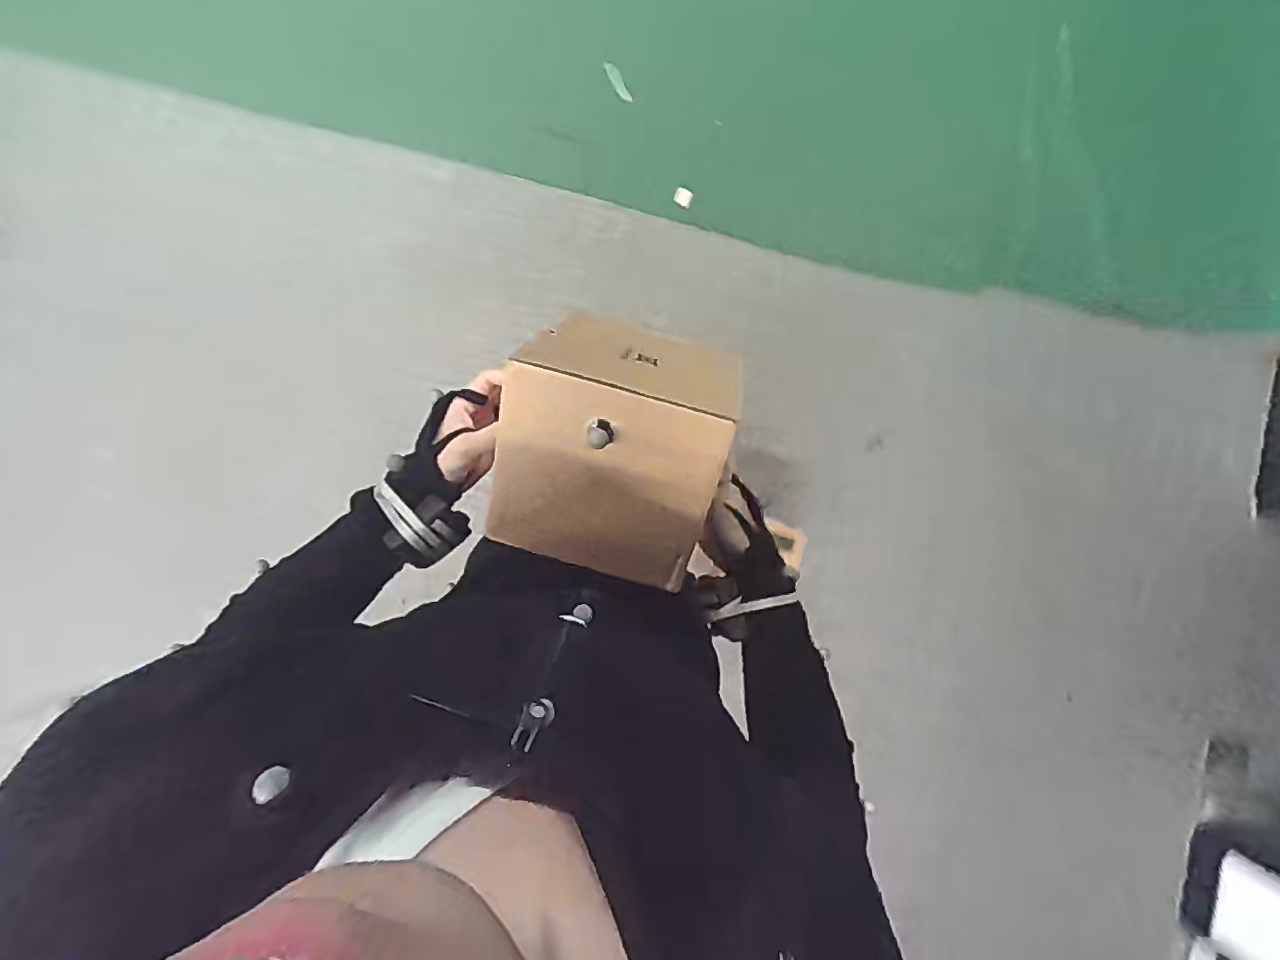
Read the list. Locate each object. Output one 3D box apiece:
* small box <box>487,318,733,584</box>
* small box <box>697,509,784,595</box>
[{"bbox_3d":[-0.024,-0.029,0.496,0.179,0.168,0.176,15,119,2],"label":"small box"},{"bbox_3d":[0.259,0.184,1.437,0.168,0.176,0.179,20,87,-2],"label":"small box"}]
